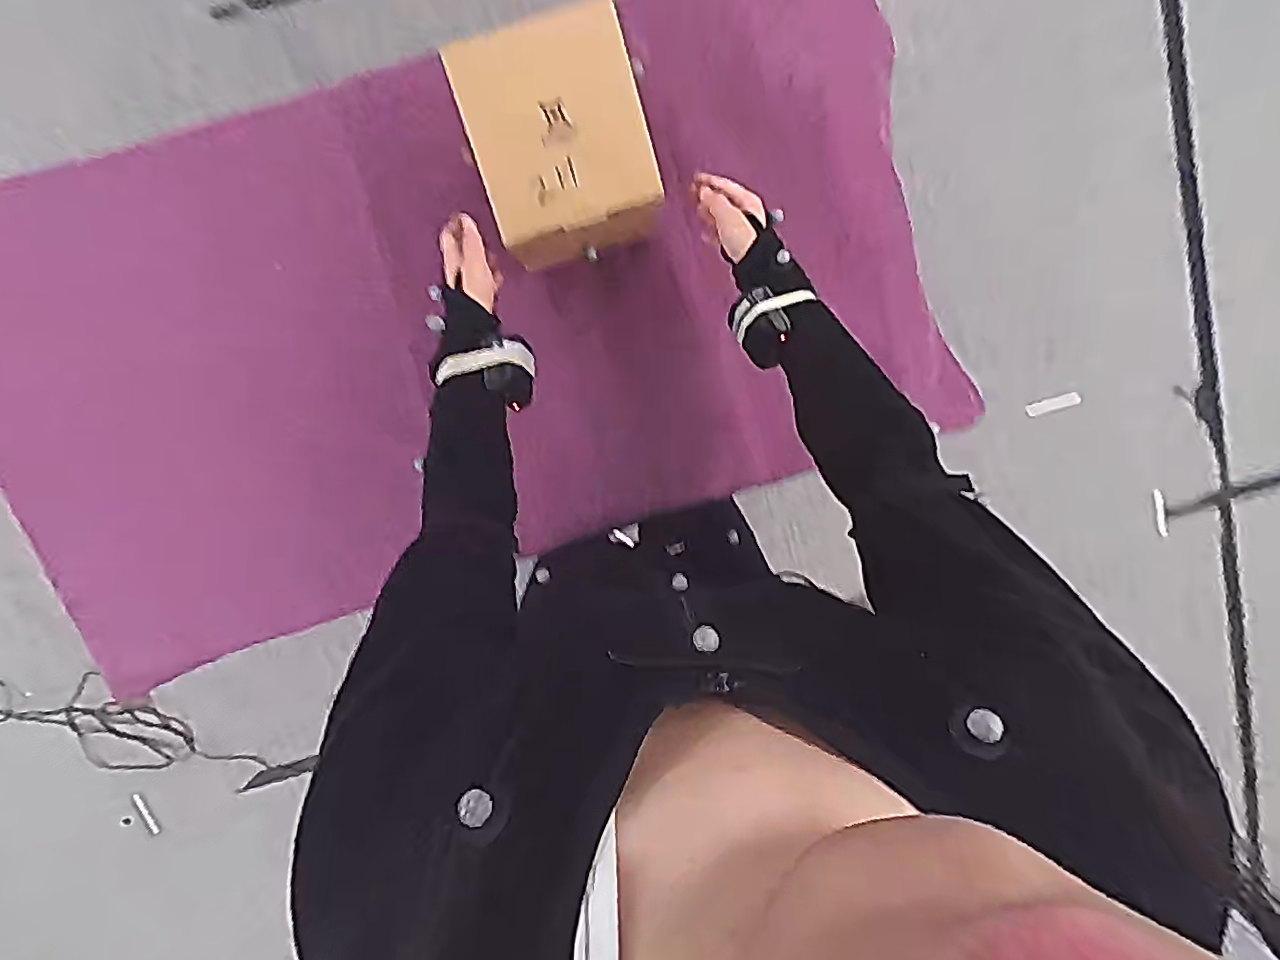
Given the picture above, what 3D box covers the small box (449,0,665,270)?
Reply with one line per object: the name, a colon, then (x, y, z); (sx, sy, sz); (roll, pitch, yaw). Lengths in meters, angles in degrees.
small box: (-0.080, -0.350, 0.586); (0.168, 0.176, 0.179); (-17, 102, 1)
